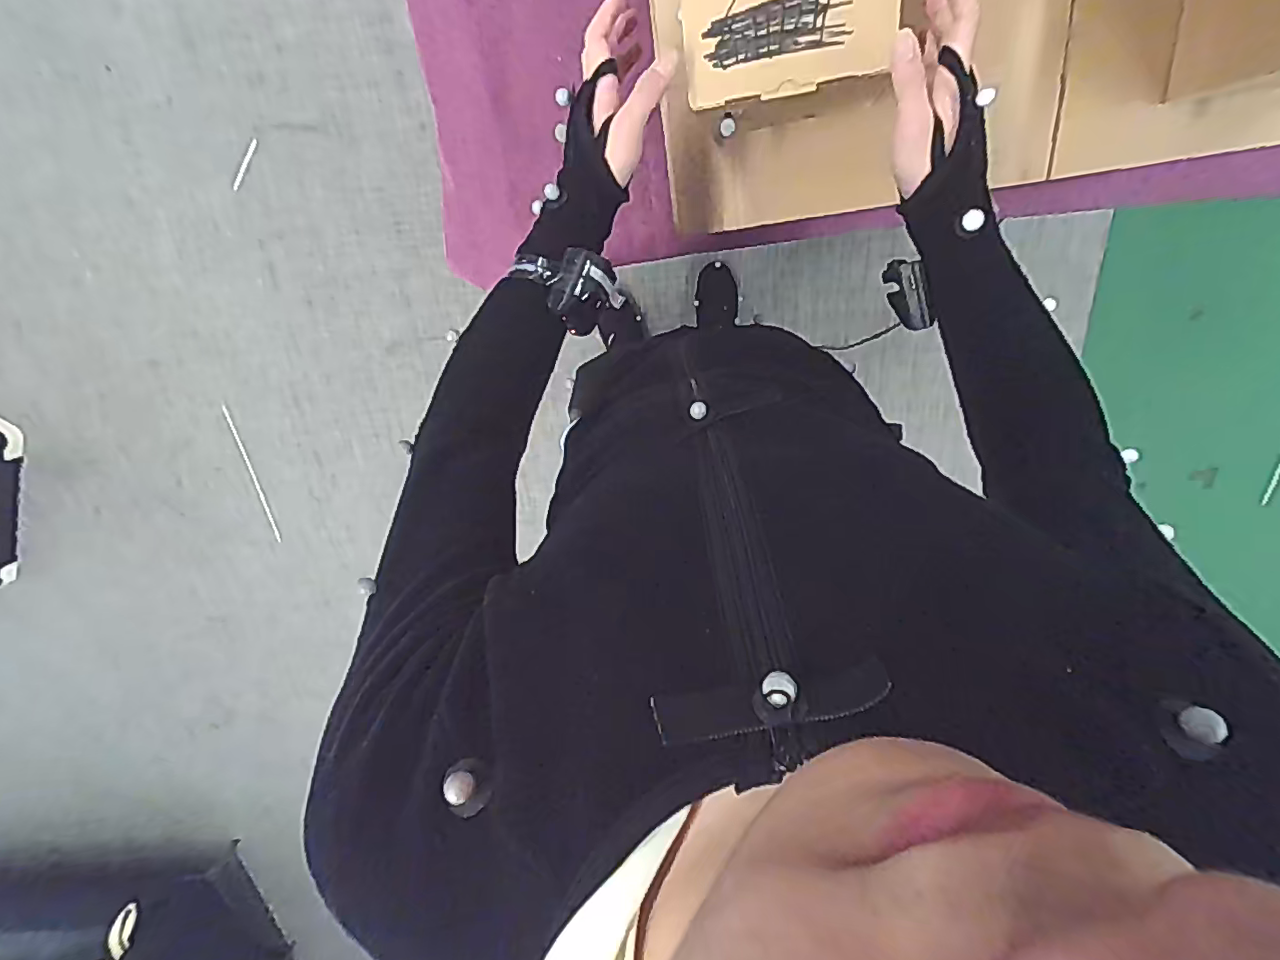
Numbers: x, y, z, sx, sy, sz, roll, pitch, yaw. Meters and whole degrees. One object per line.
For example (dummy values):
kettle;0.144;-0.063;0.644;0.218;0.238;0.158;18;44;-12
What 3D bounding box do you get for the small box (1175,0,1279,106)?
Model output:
small box;0.600;-0.434;0.435;0.168;0.176;0.179;-7;113;2
